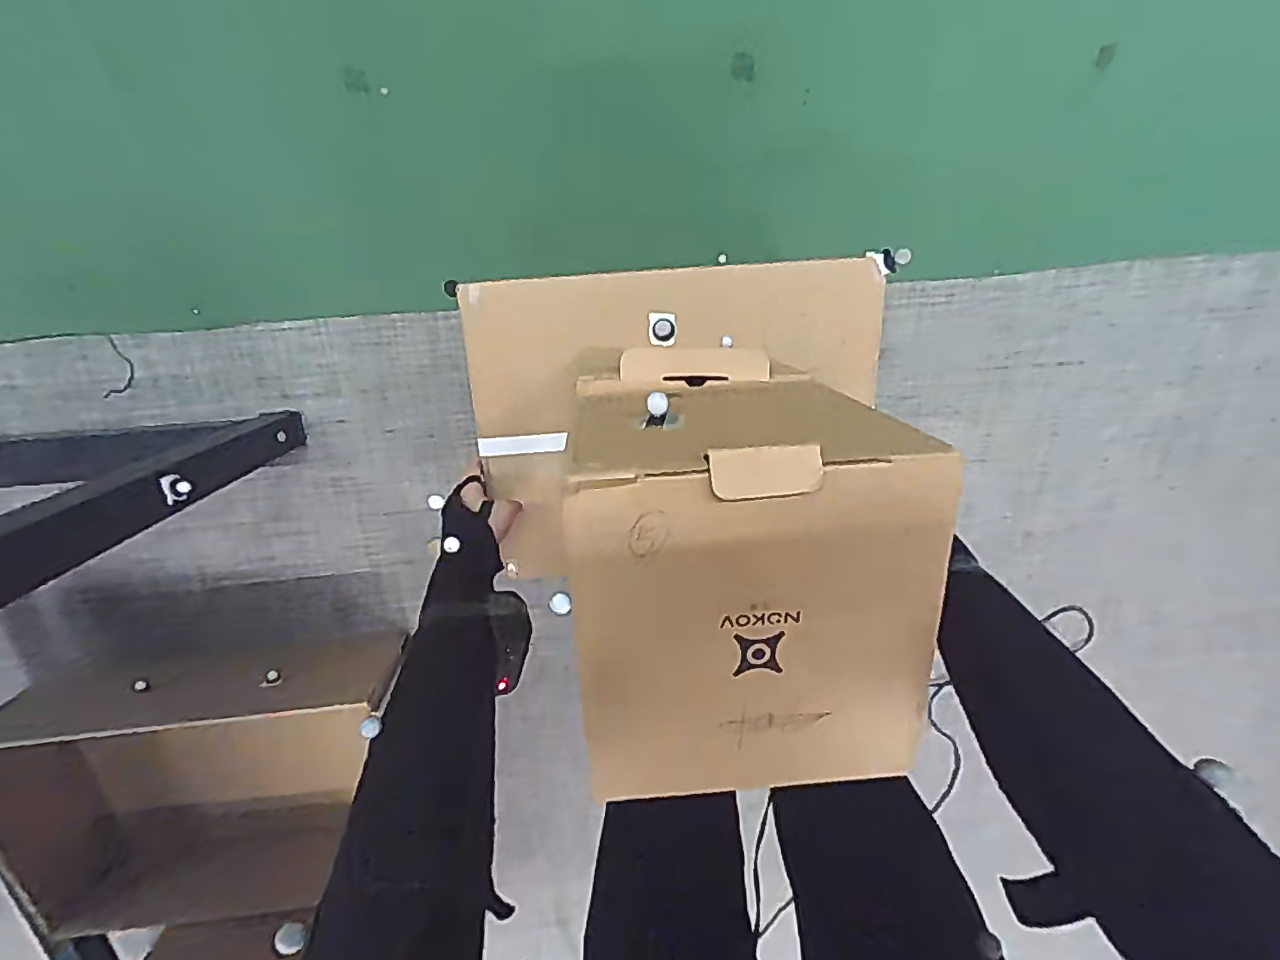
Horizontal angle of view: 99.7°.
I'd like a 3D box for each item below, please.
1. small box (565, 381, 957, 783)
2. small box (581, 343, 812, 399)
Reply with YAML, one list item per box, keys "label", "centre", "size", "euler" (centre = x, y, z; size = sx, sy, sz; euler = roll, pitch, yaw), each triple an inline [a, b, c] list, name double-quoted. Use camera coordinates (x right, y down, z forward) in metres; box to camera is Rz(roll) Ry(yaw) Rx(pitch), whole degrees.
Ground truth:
- label: "small box"
  centre: [0.046, 0.039, 0.320]
  size: [0.168, 0.176, 0.179]
  euler: [-3, 111, -2]
- label: "small box"
  centre: [0.031, -0.023, 0.471]
  size: [0.168, 0.176, 0.179]
  euler: [0, 111, -4]
